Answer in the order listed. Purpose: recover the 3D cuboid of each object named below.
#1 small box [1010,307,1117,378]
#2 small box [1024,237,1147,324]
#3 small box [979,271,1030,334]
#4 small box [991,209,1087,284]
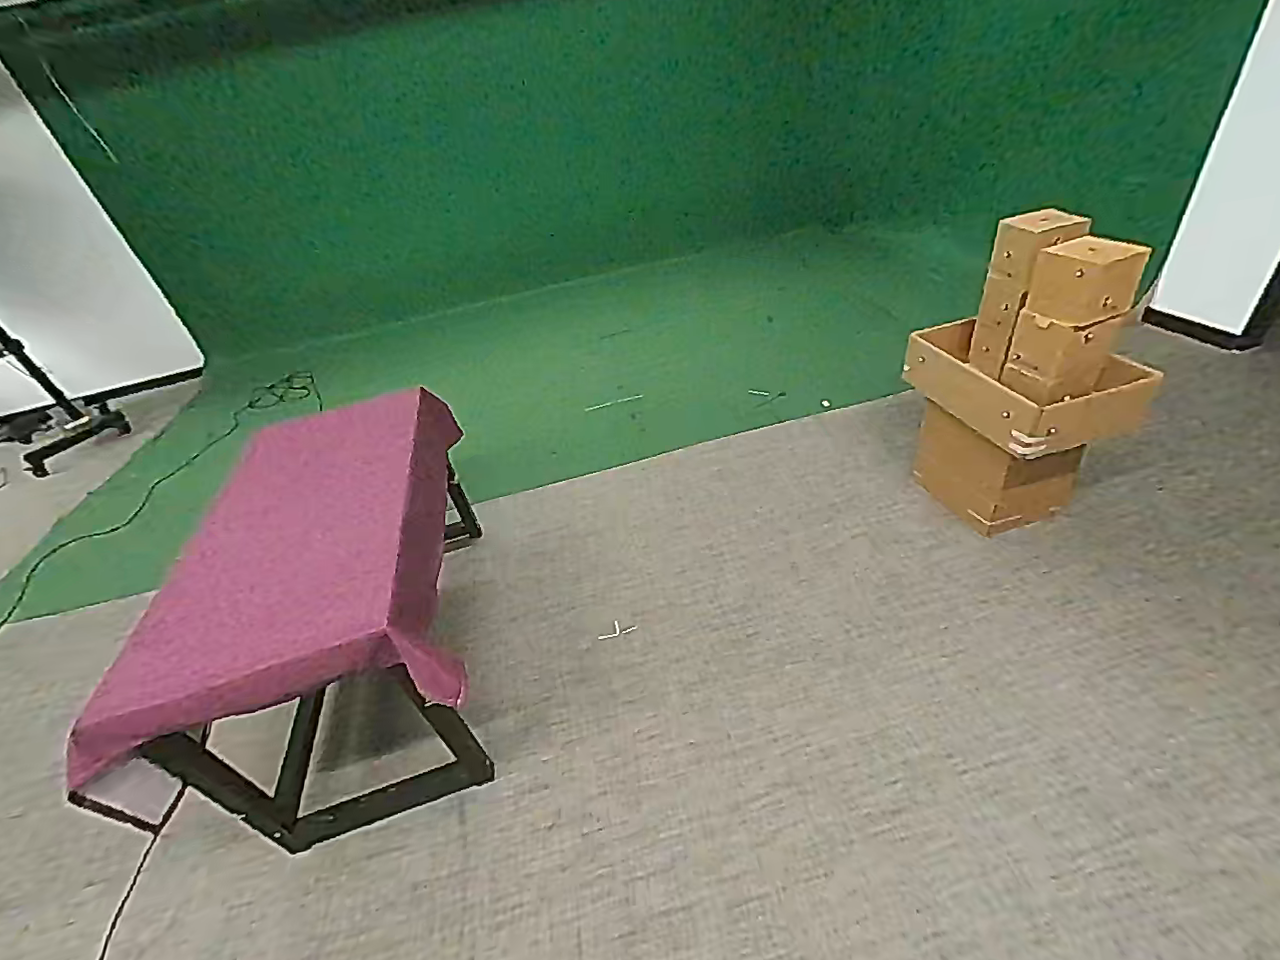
[{"bbox_3d":[1.219,-0.414,1.573,0.179,0.176,0.168,-16,37,-6],"label":"small box"},{"bbox_3d":[1.202,-0.544,1.476,0.168,0.176,0.179,-18,38,-9],"label":"small box"},{"bbox_3d":[1.275,-0.606,1.812,0.179,0.176,0.168,-13,38,-3],"label":"small box"},{"bbox_3d":[1.252,-0.738,1.717,0.179,0.176,0.168,-12,39,-1],"label":"small box"}]
